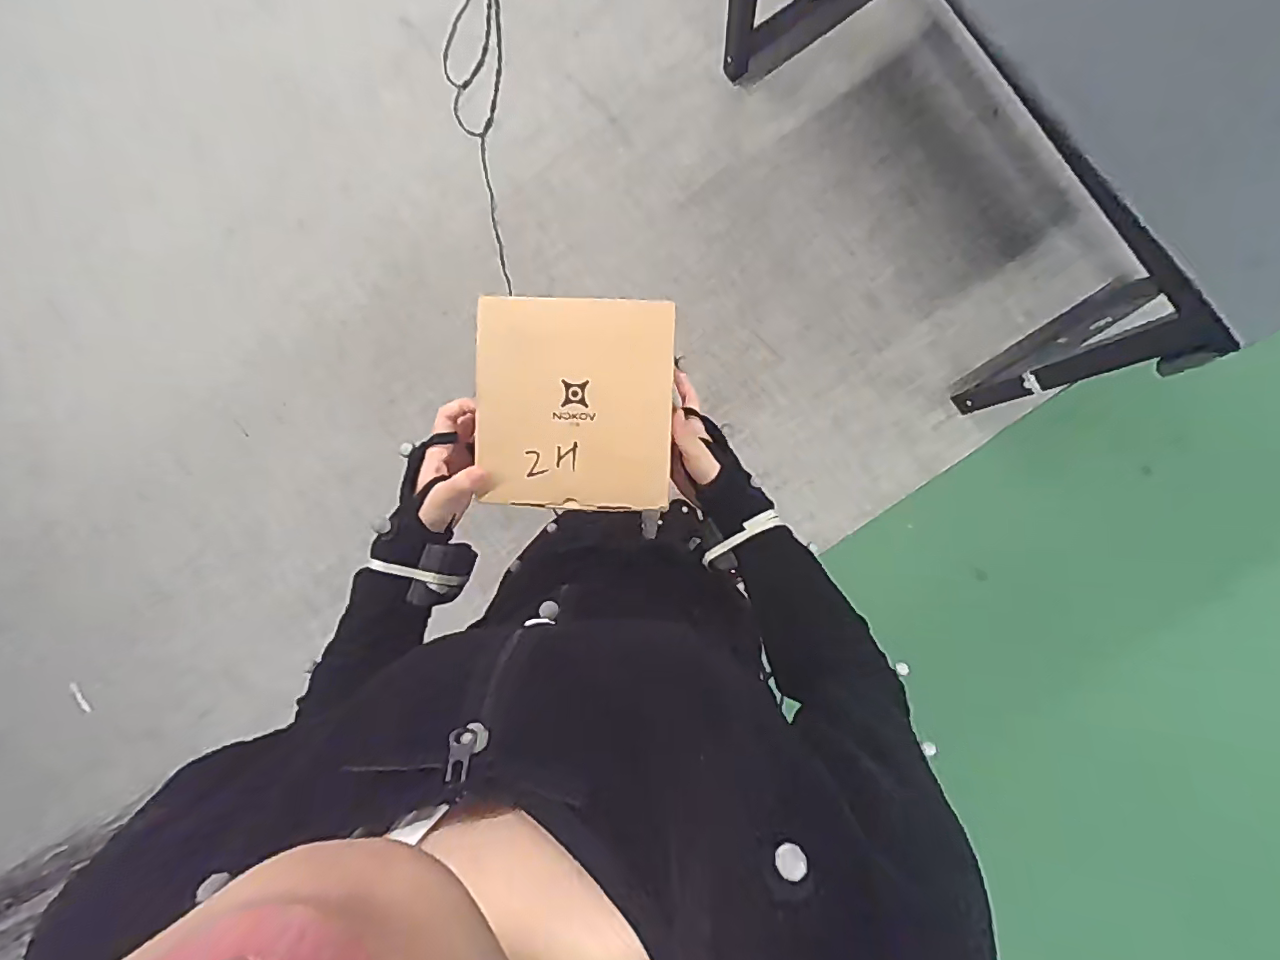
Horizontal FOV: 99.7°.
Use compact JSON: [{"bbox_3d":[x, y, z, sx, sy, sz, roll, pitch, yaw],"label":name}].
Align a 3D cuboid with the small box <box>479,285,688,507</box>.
[{"bbox_3d":[-0.045,-0.070,0.517,0.168,0.176,0.179,2,92,1],"label":"small box"}]
